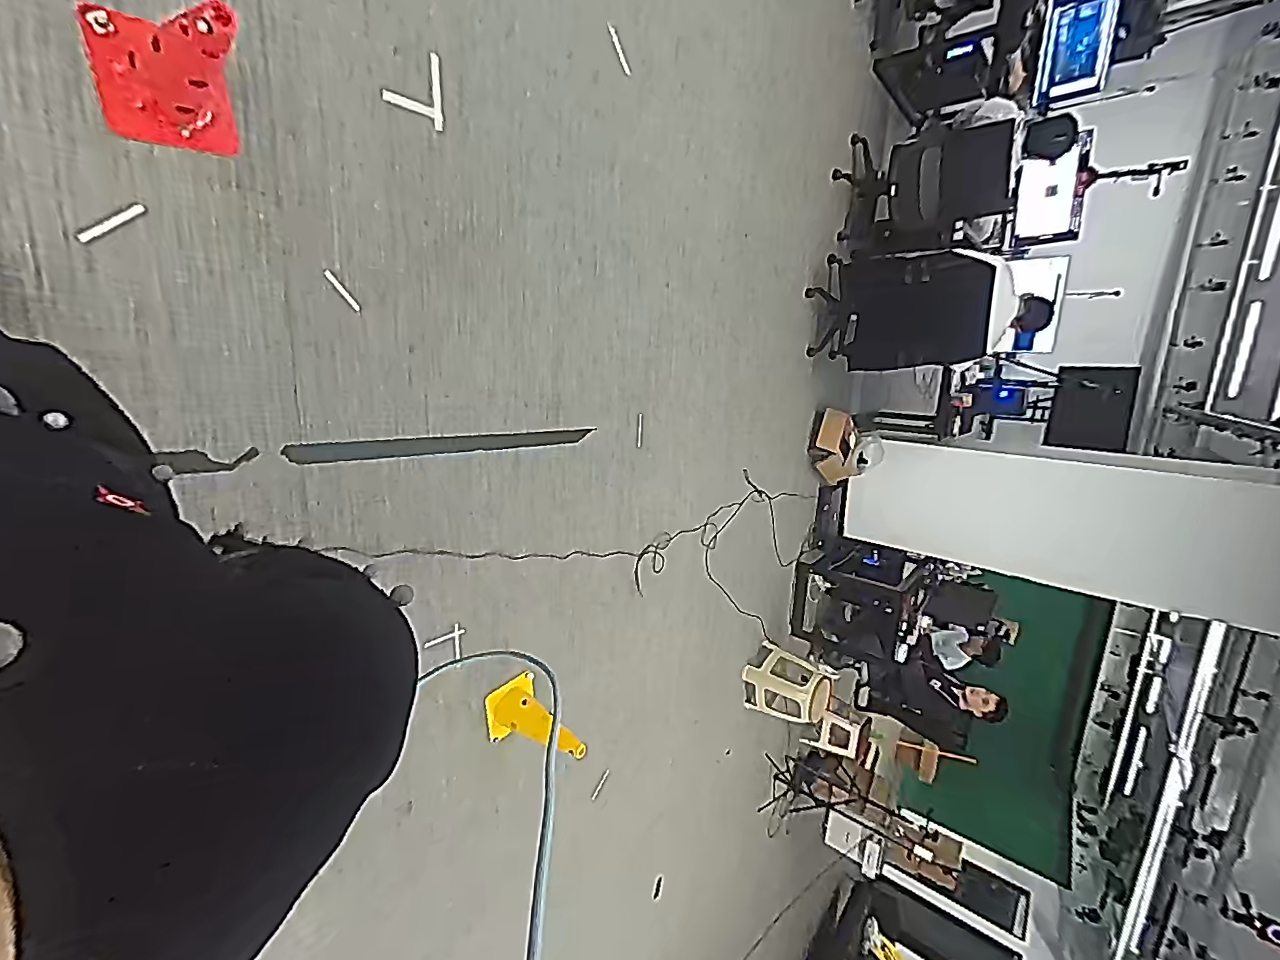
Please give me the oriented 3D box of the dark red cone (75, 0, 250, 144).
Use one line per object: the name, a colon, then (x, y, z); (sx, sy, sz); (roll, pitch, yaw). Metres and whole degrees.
dark red cone: (-0.718, -0.695, 0.863); (0.202, 0.394, 0.201); (-22, 117, -47)
